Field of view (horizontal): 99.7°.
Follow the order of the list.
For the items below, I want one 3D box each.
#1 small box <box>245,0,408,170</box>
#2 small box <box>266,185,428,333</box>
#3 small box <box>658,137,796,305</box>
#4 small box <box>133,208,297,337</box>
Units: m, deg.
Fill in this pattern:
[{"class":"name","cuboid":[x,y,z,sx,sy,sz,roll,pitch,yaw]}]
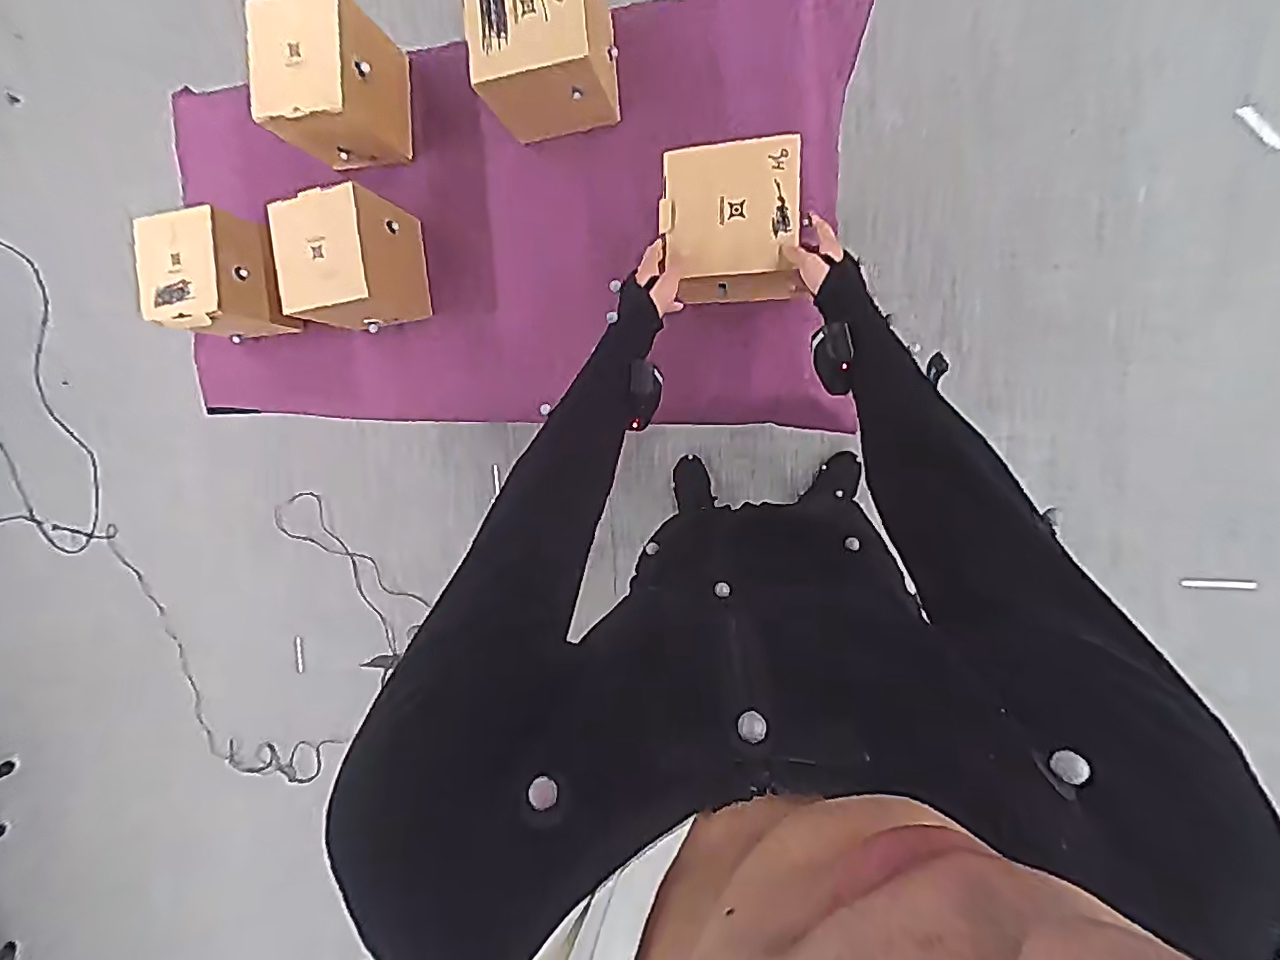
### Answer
[{"class":"small box","cuboid":[-0.504,-0.643,0.890,0.168,0.176,0.179,2,97,12]},{"class":"small box","cuboid":[-0.487,-0.362,0.919,0.168,0.176,0.179,-5,94,14]},{"class":"small box","cuboid":[0.130,-0.354,0.776,0.179,0.176,0.168,1,96,15]},{"class":"small box","cuboid":[-0.754,-0.361,0.978,0.168,0.176,0.179,-2,94,13]}]
